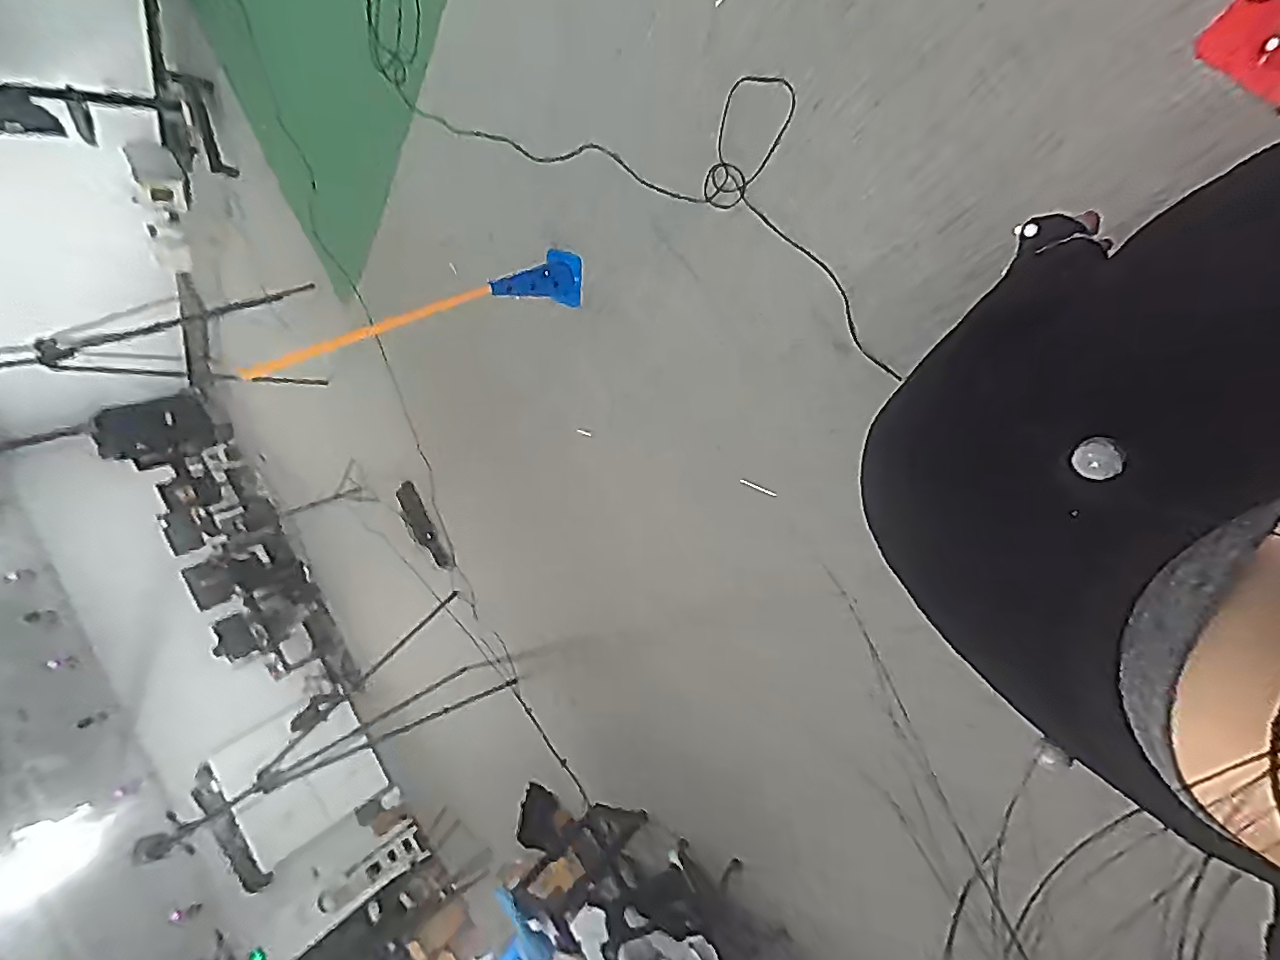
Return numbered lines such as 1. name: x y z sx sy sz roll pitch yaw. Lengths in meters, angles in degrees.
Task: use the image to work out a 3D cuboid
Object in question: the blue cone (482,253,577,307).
1. blue cone: -0.426 -0.738 2.049 0.192 0.380 0.193 27 129 32
